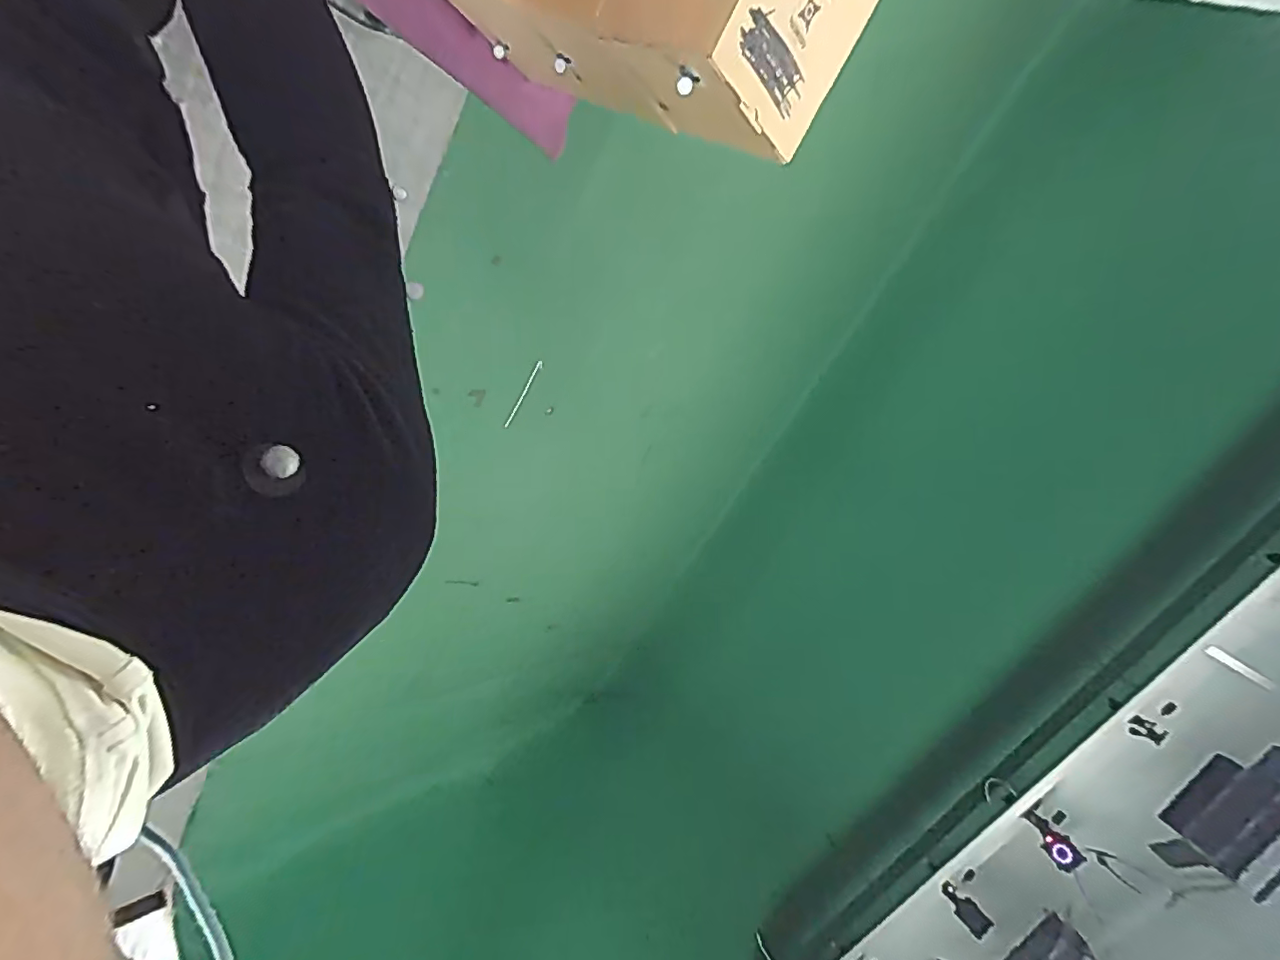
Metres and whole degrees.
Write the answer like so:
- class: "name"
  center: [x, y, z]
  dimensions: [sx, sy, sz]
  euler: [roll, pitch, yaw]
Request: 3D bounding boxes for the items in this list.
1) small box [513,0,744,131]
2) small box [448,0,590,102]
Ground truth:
- class: "small box"
  center: [-0.015, -0.552, 0.617]
  dimensions: [0.168, 0.176, 0.179]
  euler: [12, 115, -55]
- class: "small box"
  center: [-0.125, -0.642, 0.698]
  dimensions: [0.179, 0.176, 0.168]
  euler: [11, 115, -56]
